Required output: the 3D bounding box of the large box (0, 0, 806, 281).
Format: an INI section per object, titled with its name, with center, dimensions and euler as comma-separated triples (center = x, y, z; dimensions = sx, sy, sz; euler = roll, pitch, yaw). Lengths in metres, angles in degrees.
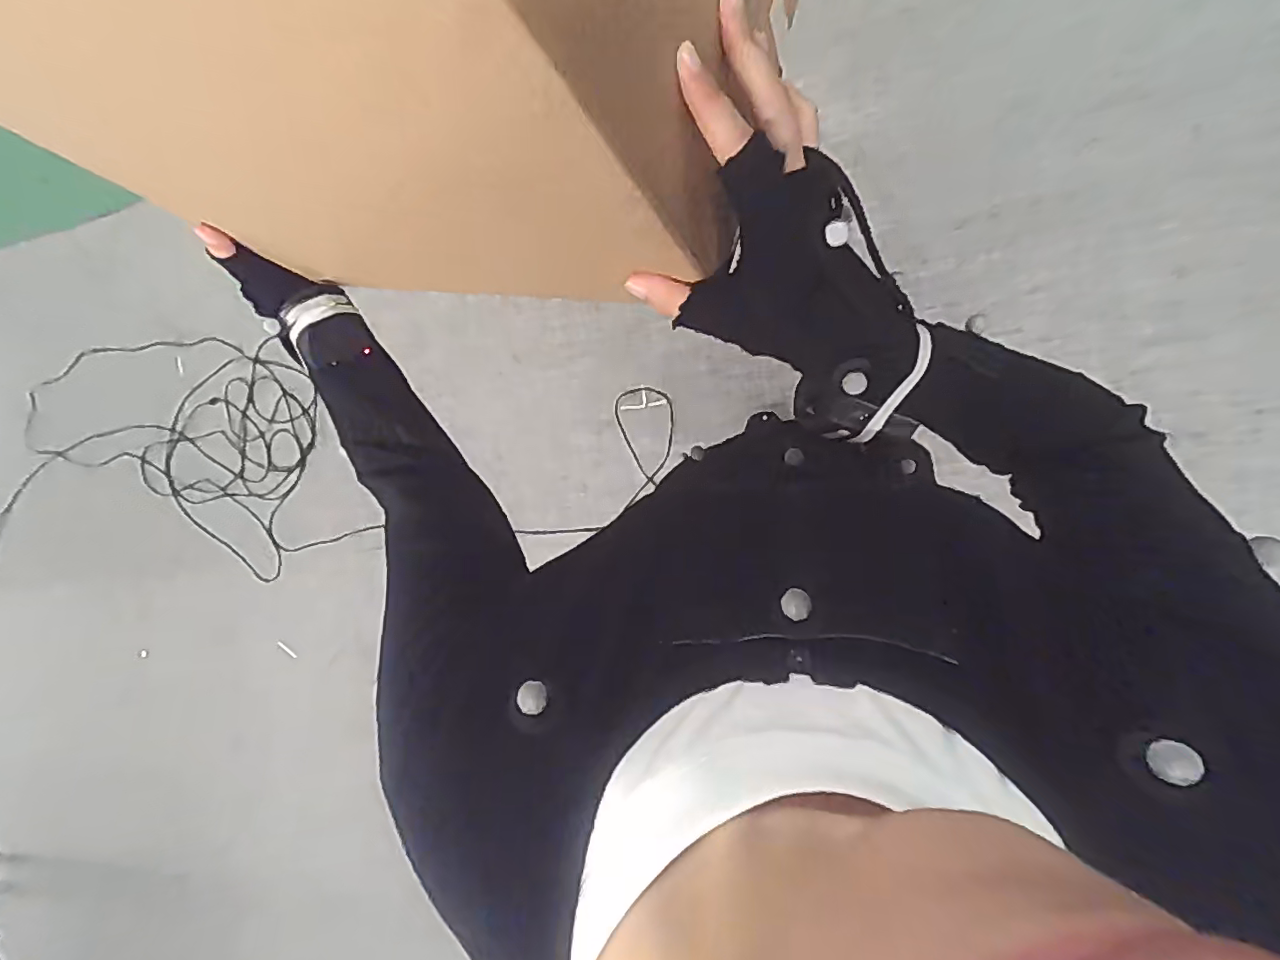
[large box]
center = -0.143, -0.320, 0.281
dimensions = 0.408, 0.320, 0.320
euler = 12, 86, 27
